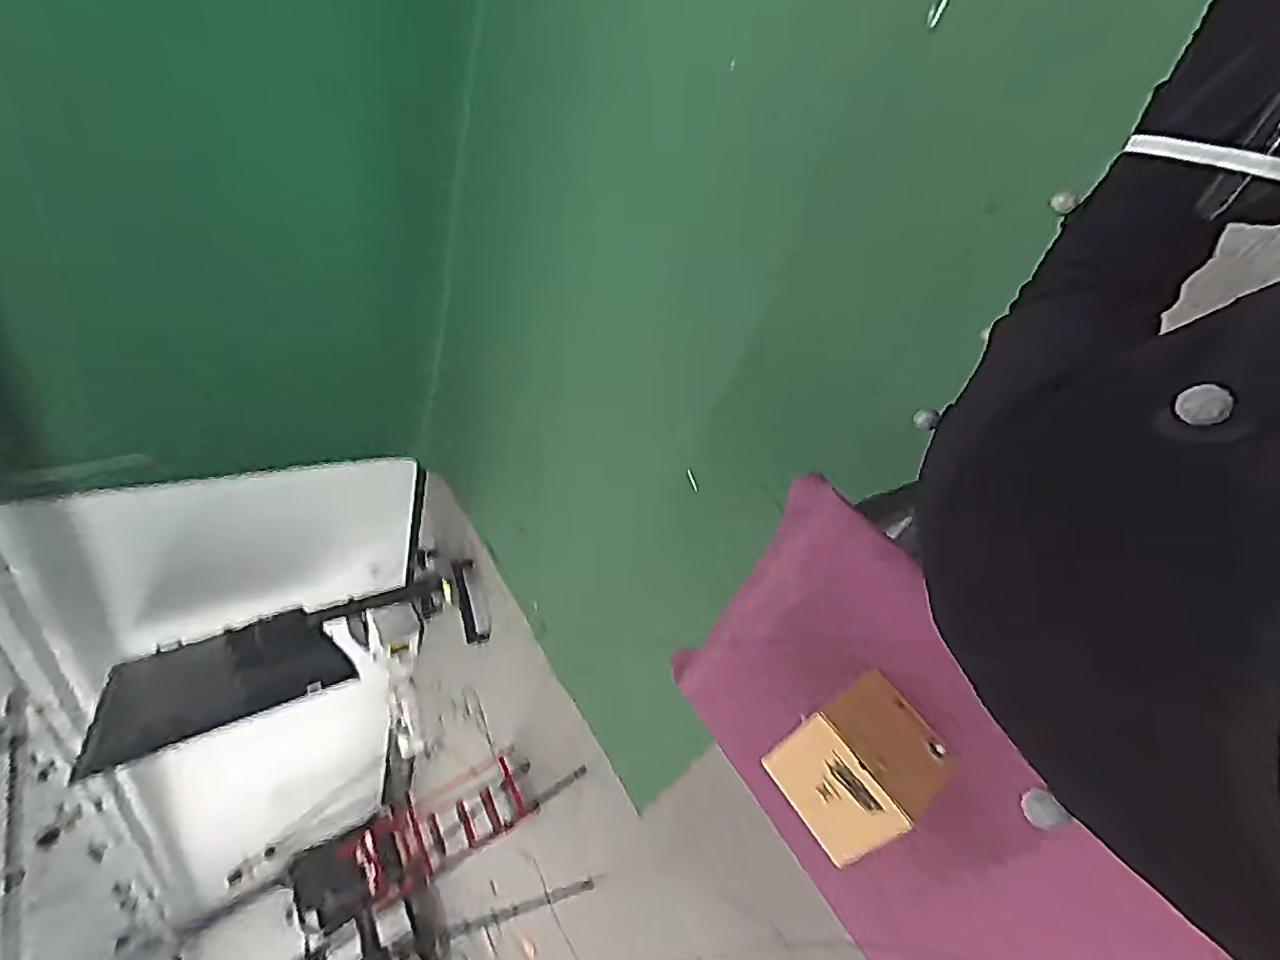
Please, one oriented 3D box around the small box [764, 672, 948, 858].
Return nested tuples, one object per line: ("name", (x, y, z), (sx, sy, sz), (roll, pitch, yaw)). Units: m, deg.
("small box", (0.333, 0.425, 0.825), (0.168, 0.176, 0.179), (53, 134, 29))
